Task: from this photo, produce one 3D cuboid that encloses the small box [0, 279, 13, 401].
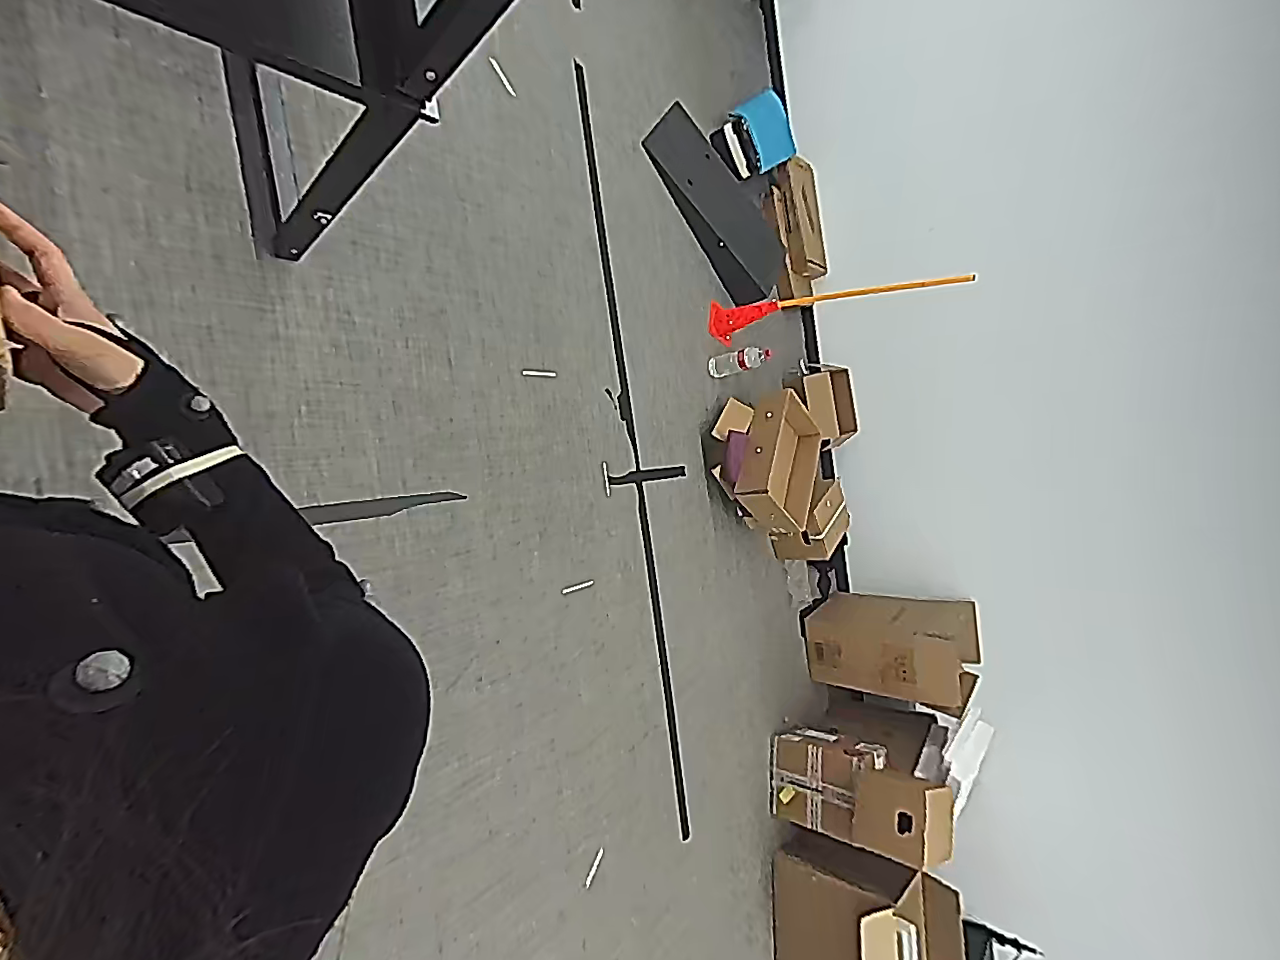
[{"bbox_3d":[-0.443,-0.129,0.261,0.168,0.176,0.179,-9,94,-50],"label":"small box"}]
